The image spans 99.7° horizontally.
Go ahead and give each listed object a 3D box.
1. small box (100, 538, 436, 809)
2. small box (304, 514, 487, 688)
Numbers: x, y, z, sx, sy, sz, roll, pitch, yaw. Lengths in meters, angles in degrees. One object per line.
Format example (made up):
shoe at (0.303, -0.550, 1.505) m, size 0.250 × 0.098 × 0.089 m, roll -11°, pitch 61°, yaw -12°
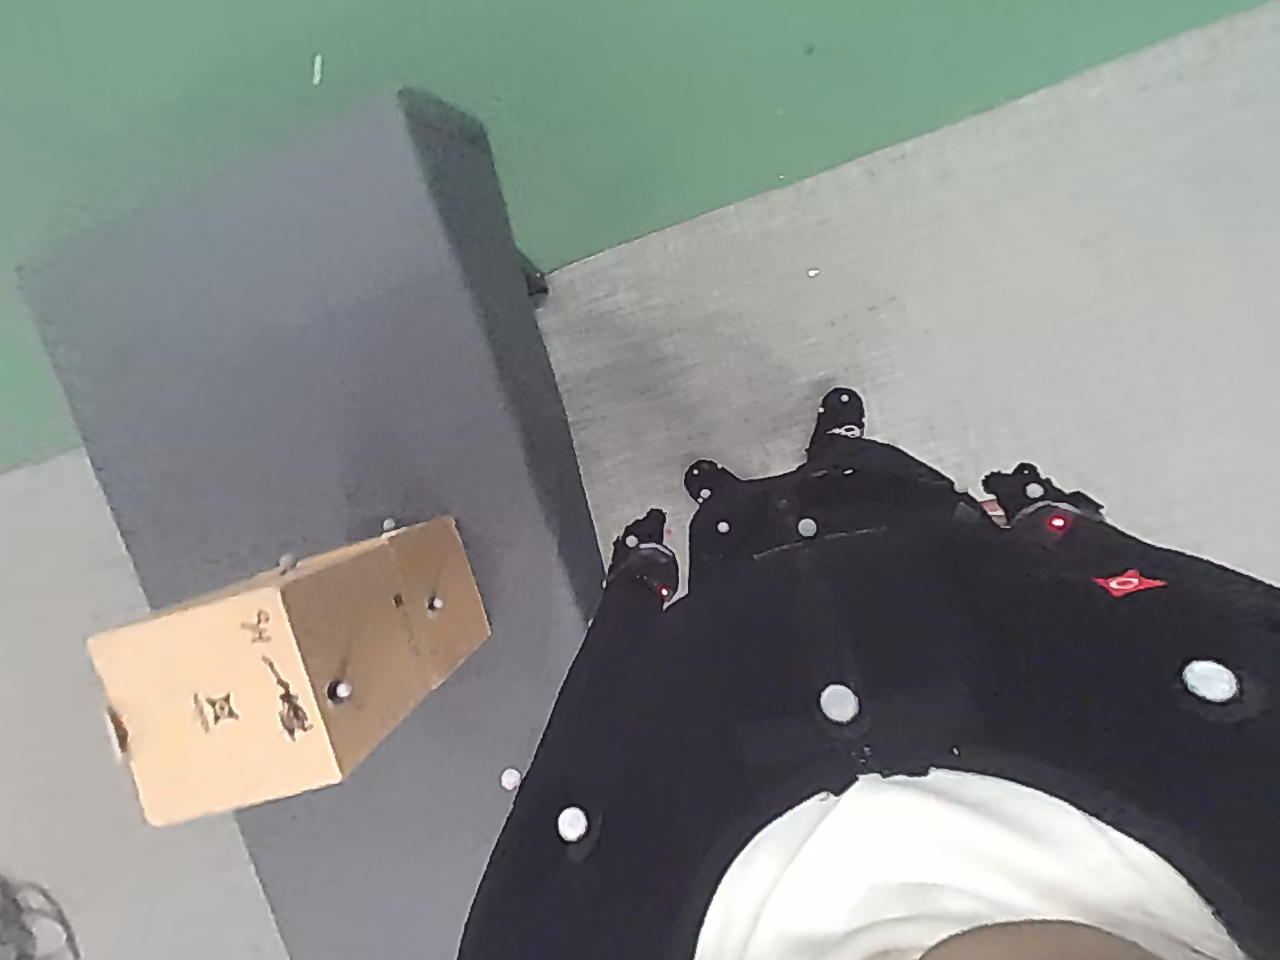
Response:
small box at (-0.332, 0.166, 0.517) m, size 0.179 × 0.176 × 0.168 m, roll -19°, pitch 91°, yaw 6°
small box at (-0.314, 0.155, 0.677) m, size 0.168 × 0.176 × 0.179 m, roll -17°, pitch 92°, yaw 6°
